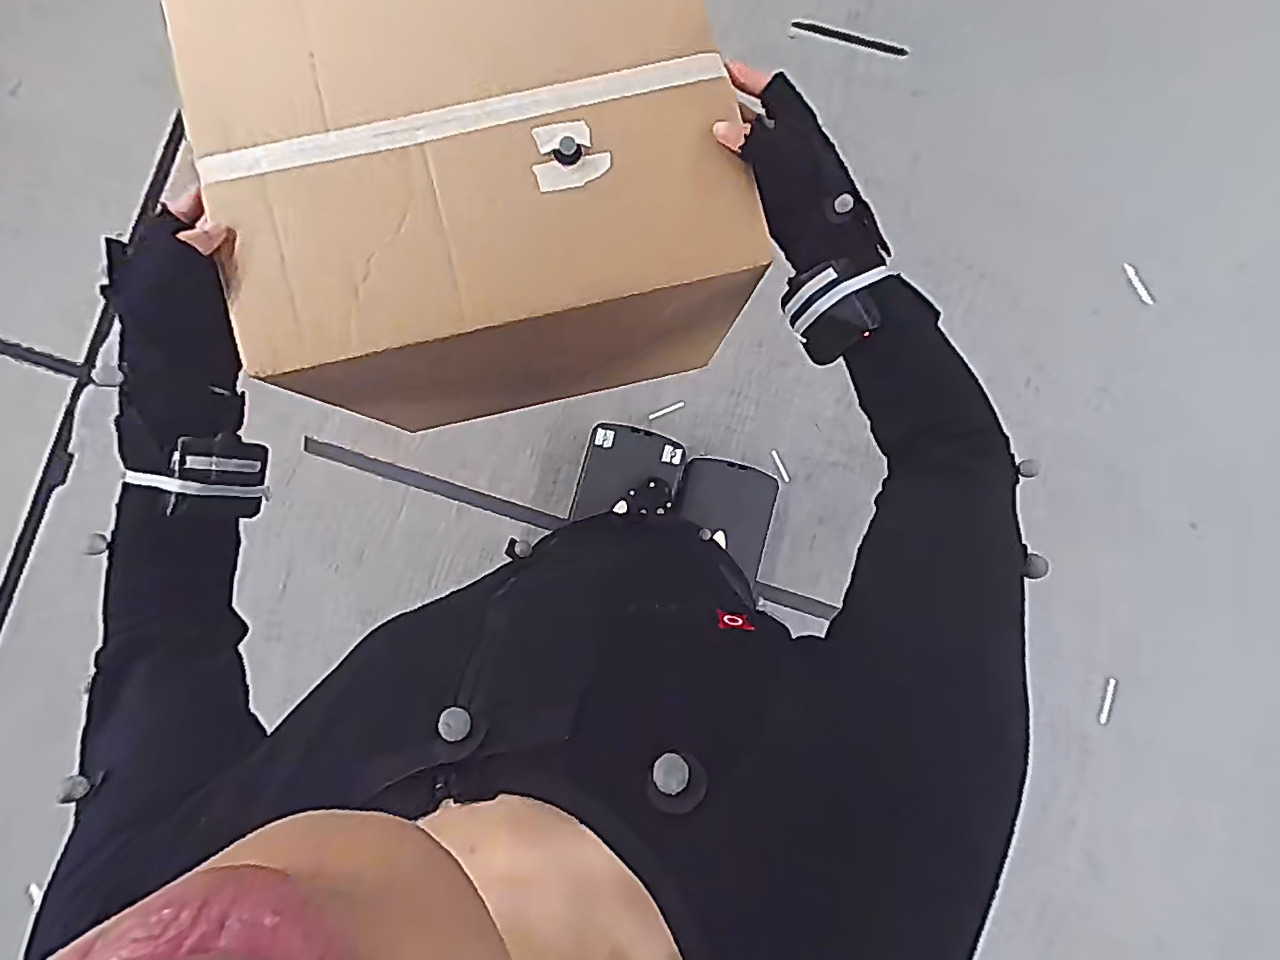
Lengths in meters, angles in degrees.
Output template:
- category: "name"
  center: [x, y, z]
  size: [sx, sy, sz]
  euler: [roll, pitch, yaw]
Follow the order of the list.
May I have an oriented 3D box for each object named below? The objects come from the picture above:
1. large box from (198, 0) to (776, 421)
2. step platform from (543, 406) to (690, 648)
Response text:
- category: "large box"
  center: [-0.125, -0.276, 0.571]
  size: [0.408, 0.320, 0.320]
  euler: [-13, 89, -3]
- category: "step platform"
  center: [-0.064, 0.133, 1.584]
  size: [0.286, 0.204, 0.684]
  euler: [14, 85, 1]
